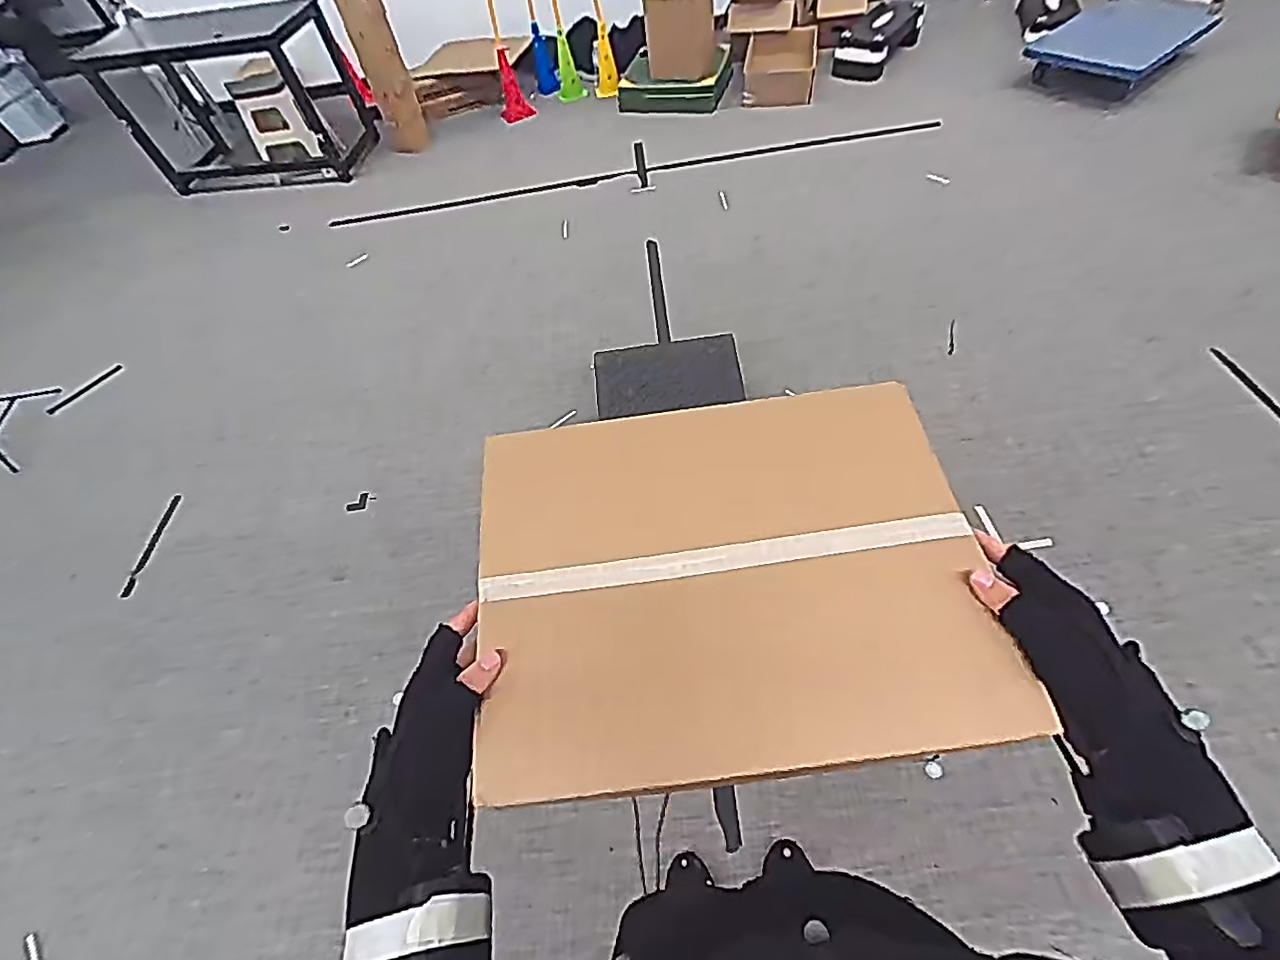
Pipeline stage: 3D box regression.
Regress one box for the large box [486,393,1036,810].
[{"bbox_3d":[0.081,0.145,0.583,0.408,0.320,0.320,-8,59,0],"label":"large box"}]
